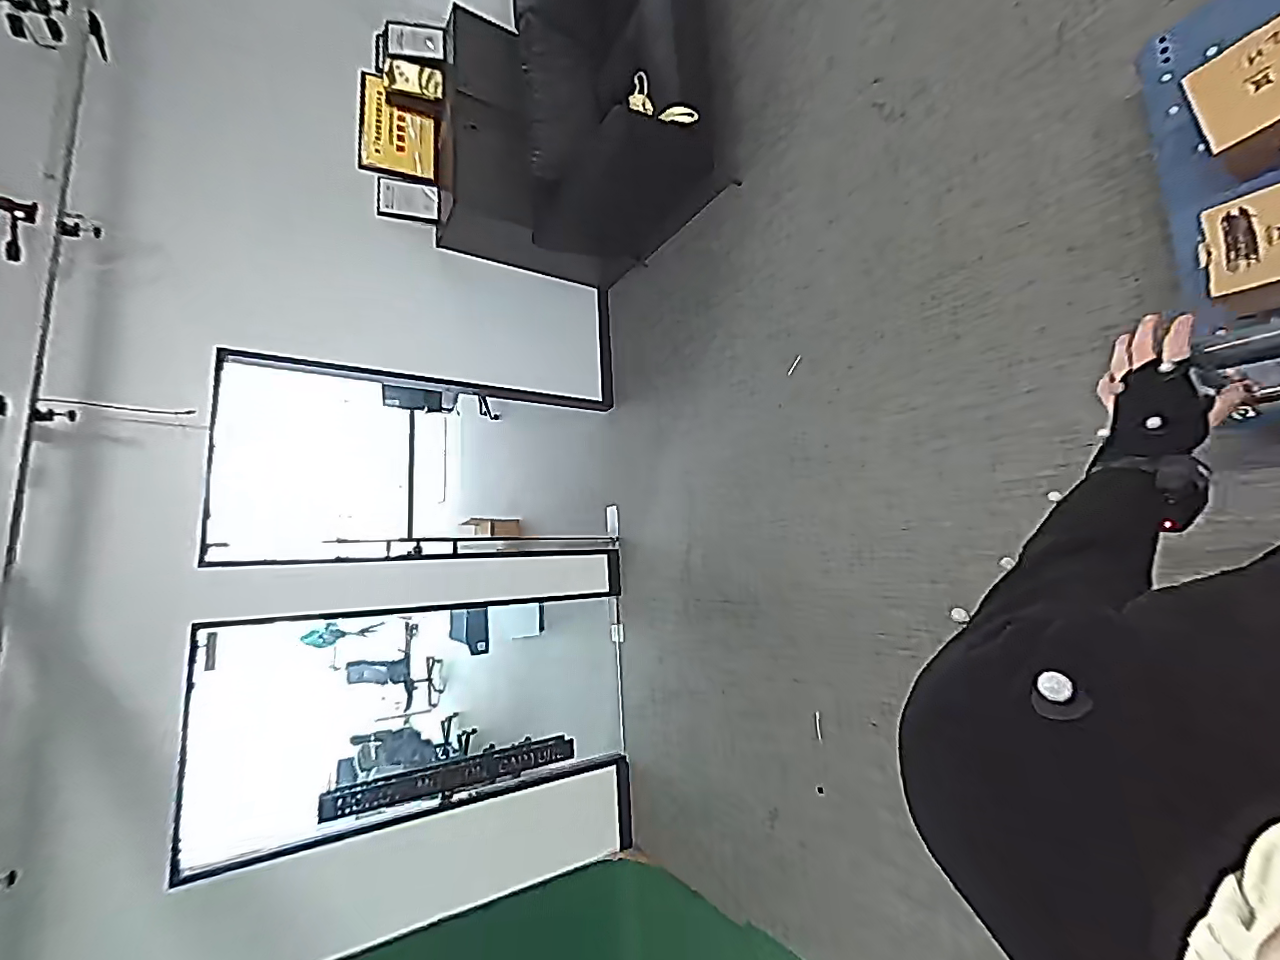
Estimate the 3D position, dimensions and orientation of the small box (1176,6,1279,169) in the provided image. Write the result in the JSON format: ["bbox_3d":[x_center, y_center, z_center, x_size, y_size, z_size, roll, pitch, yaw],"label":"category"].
[{"bbox_3d":[1.122,-0.696,0.969,0.168,0.176,0.179,-26,67,53],"label":"small box"}]
